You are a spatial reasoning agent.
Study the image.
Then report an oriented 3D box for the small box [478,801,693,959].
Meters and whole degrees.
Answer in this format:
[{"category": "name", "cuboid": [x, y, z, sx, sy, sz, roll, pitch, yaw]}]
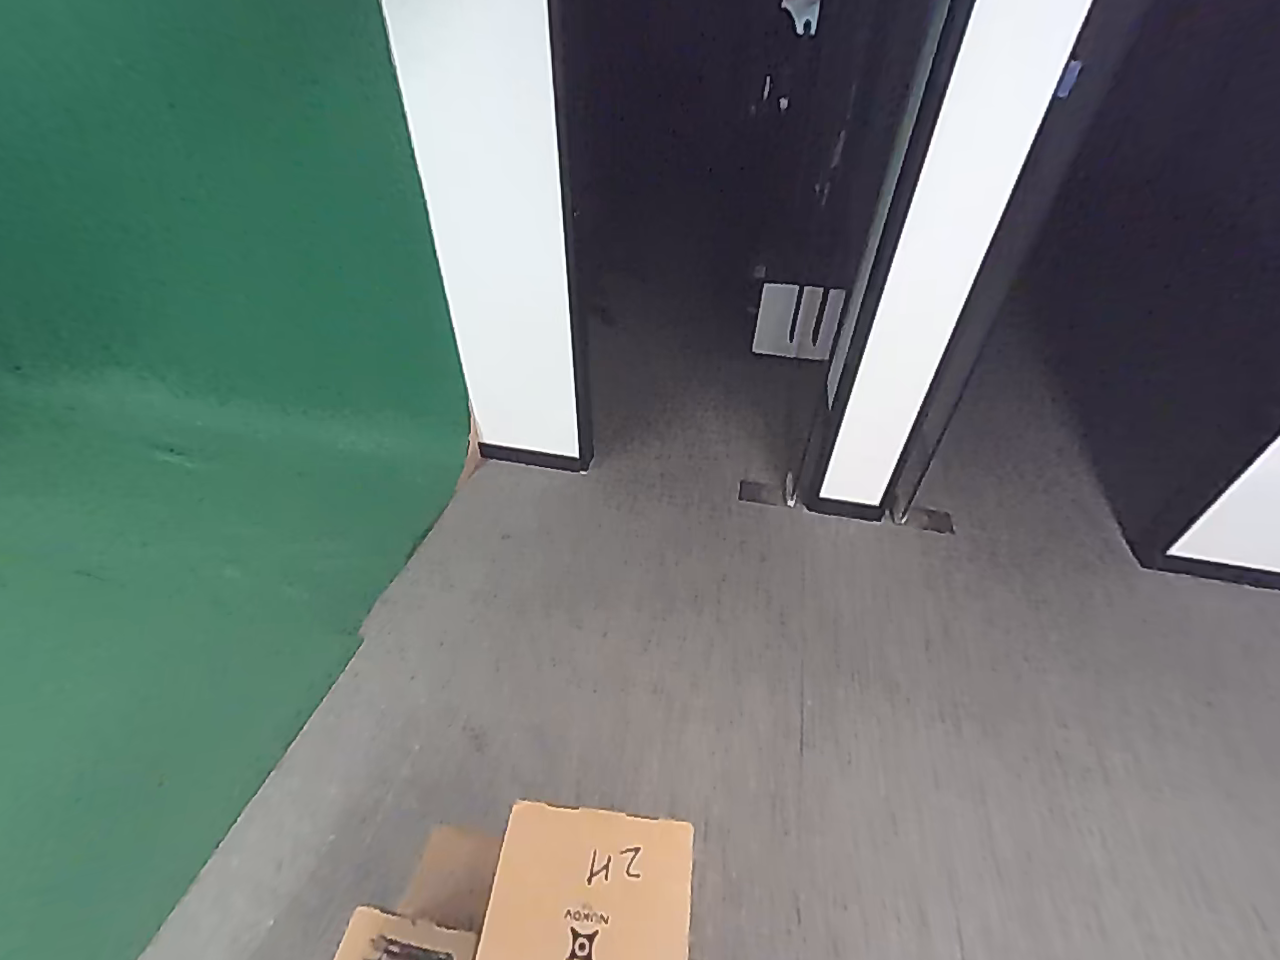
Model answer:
[{"category": "small box", "cuboid": [-0.043, 0.422, 0.493, 0.168, 0.176, 0.179, 5, 47, 5]}]
